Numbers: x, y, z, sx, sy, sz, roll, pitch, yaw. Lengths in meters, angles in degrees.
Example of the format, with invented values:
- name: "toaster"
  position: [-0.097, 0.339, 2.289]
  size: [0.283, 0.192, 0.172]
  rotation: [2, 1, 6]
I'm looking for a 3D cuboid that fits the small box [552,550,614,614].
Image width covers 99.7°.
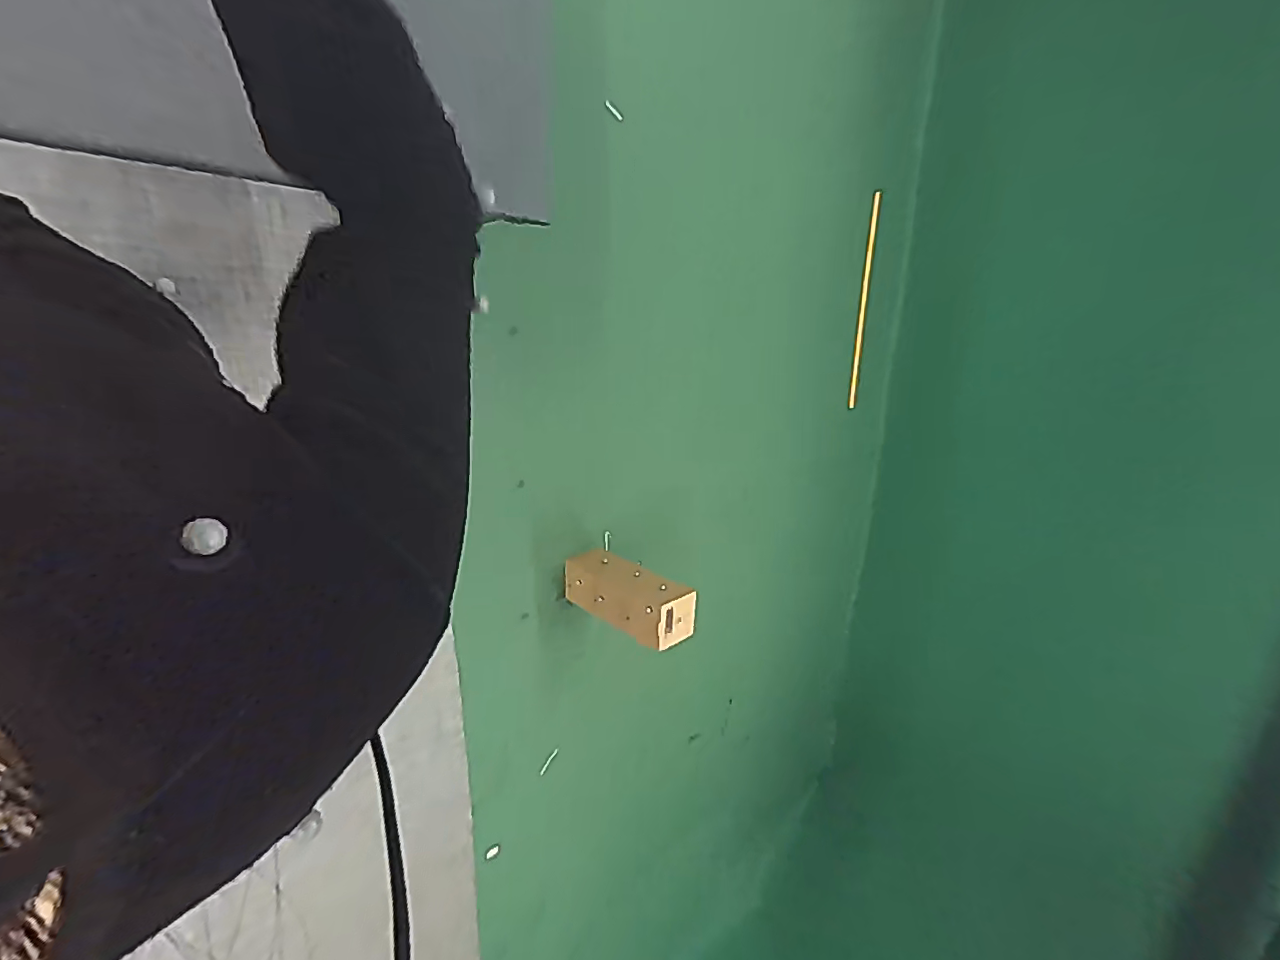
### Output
- name: "small box"
  position: [-0.220, 0.380, 2.041]
  size: [0.179, 0.176, 0.168]
  rotation: [-14, 112, -44]

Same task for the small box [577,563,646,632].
- name: "small box"
  position: [-0.101, 0.412, 1.930]
  size: [0.179, 0.176, 0.168]
  rotation: [-10, 109, -45]
